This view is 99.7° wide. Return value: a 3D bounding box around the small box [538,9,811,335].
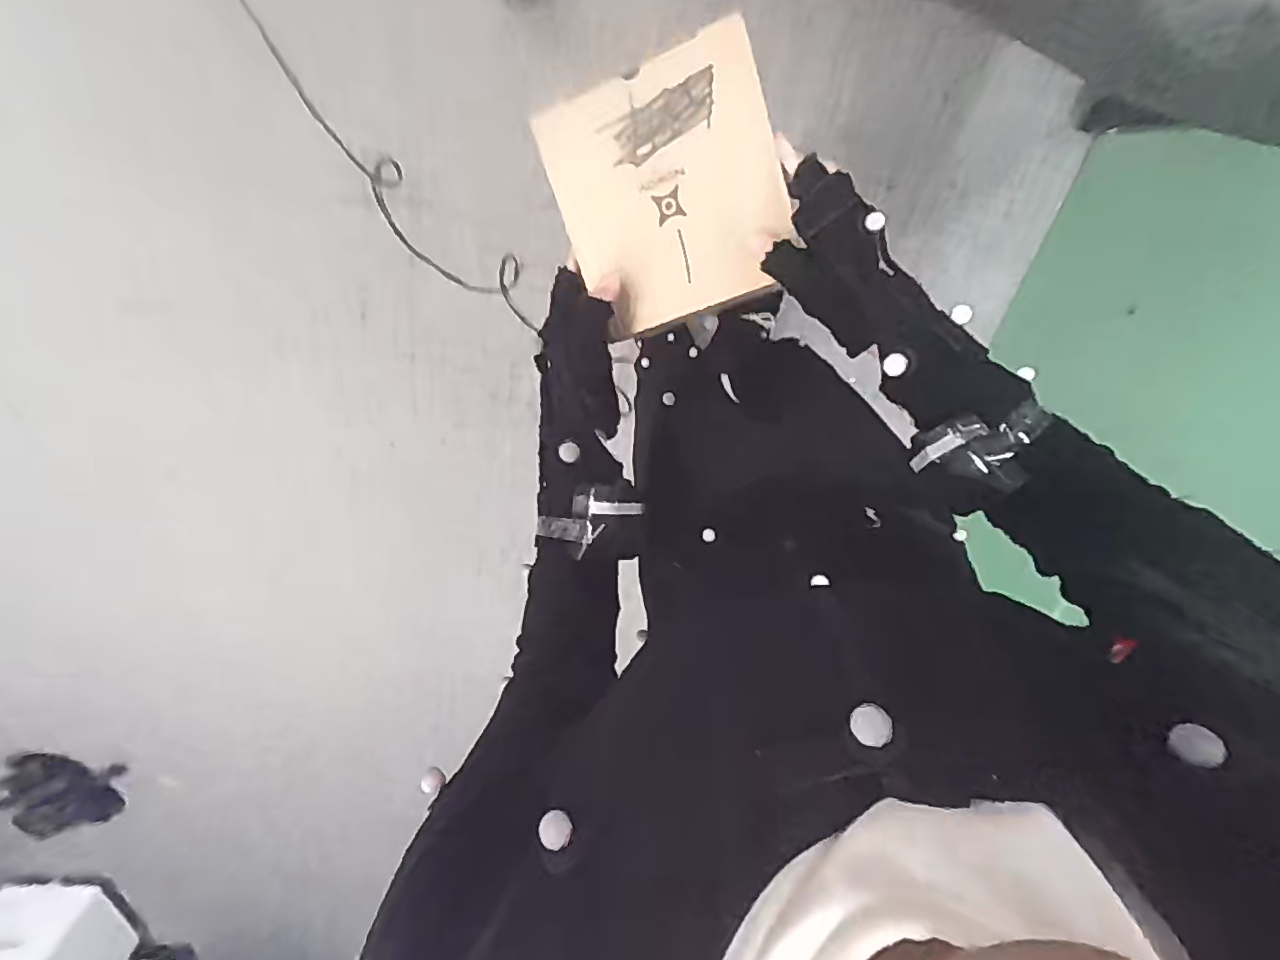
[{"bbox_3d":[0.040,-0.235,0.469,0.168,0.176,0.179,-15,103,17],"label":"small box"}]
